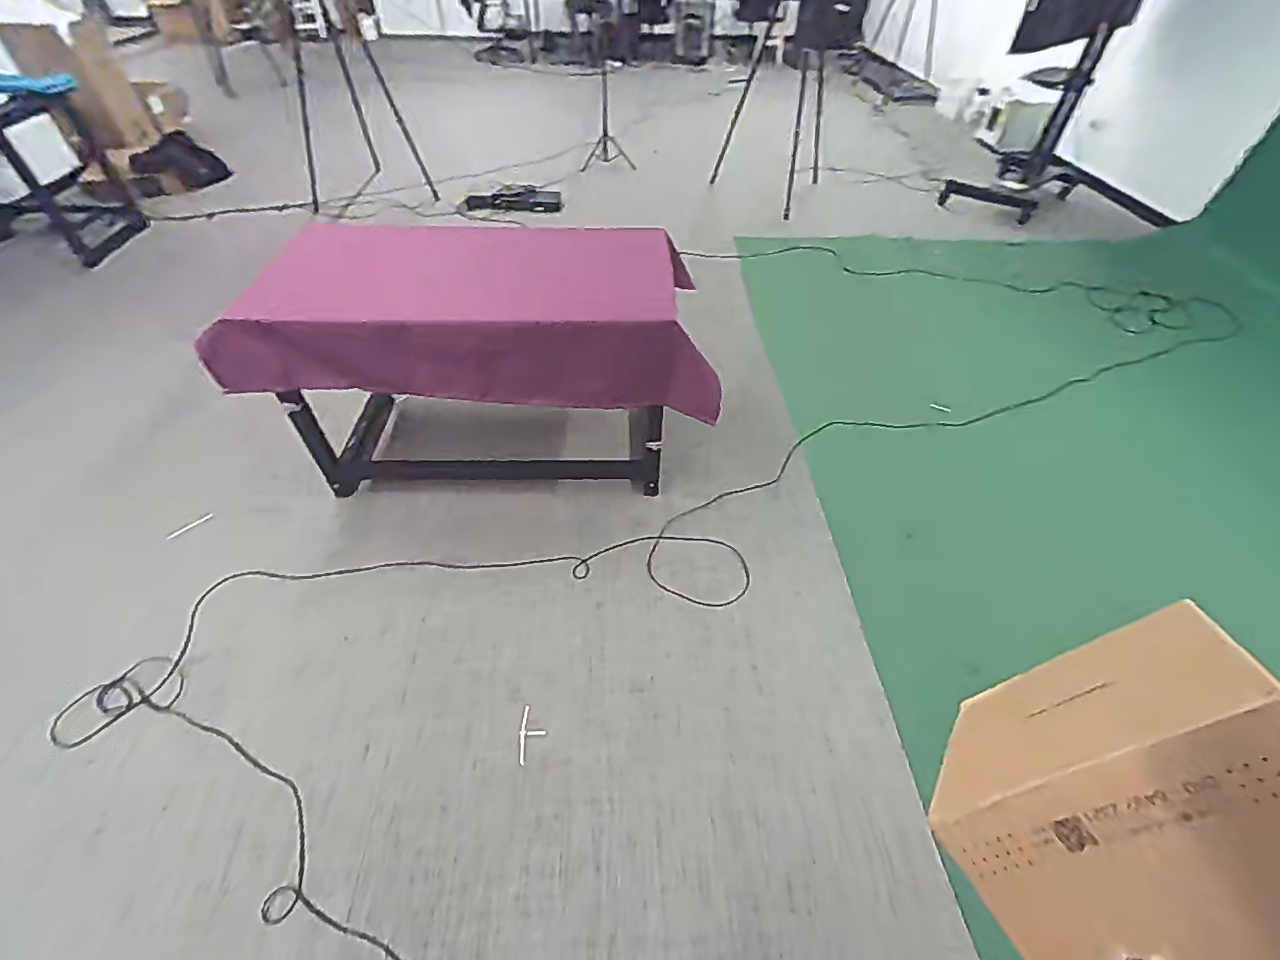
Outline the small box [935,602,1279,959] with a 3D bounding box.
[{"bbox_3d":[0.296,0.193,0.303,0.179,0.168,0.176,-4,56,-55],"label":"small box"}]
